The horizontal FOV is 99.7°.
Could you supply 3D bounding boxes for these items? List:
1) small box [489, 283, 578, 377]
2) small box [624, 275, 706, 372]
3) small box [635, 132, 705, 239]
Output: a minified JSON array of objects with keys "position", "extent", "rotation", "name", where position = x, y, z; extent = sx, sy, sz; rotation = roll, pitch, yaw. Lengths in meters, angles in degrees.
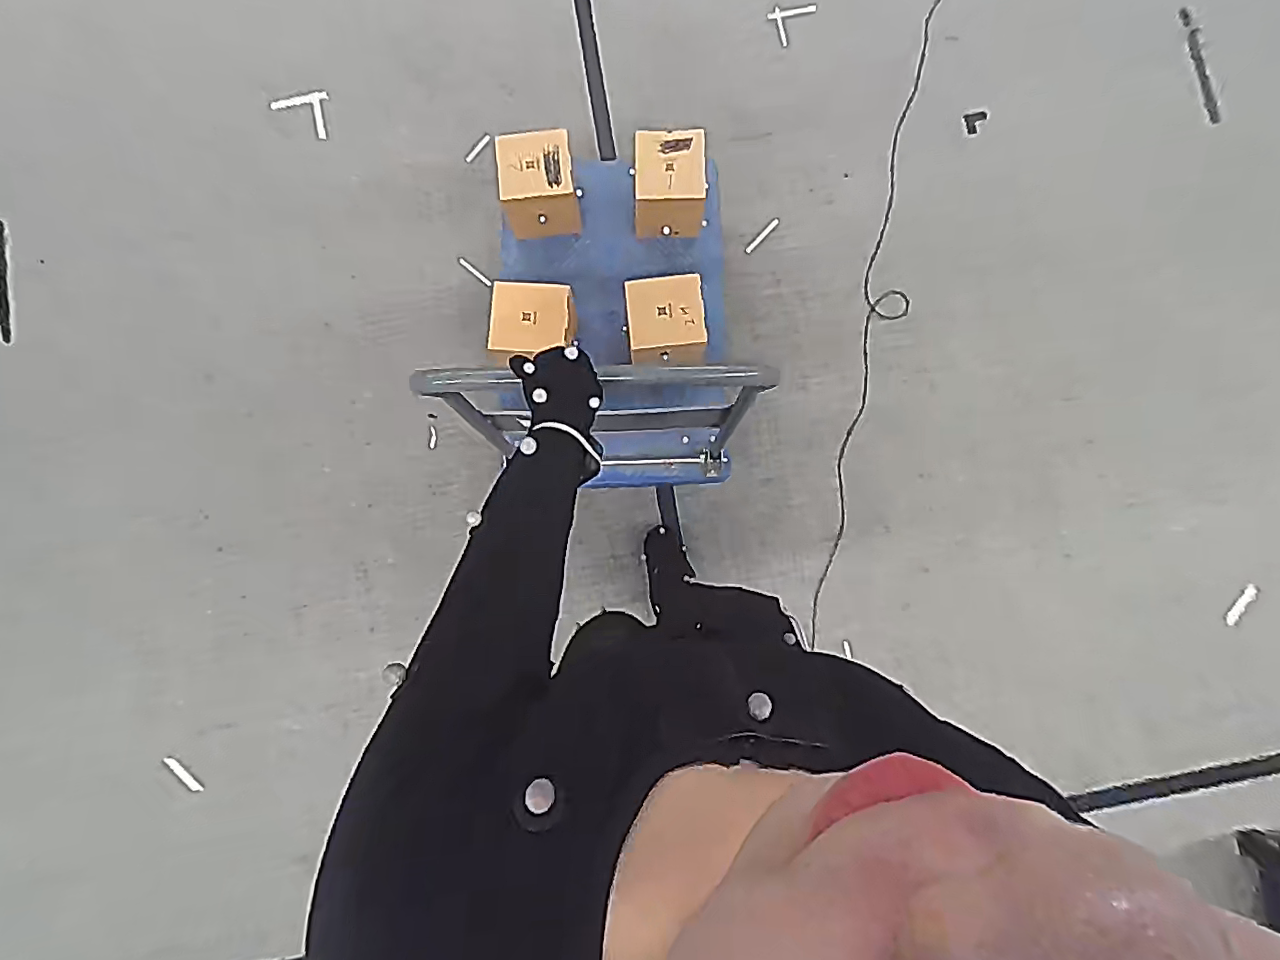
[{"position":[-0.250,-0.355,1.304],"extent":[0.179,0.176,0.168],"rotation":[3,82,-1],"name":"small box"},{"position":[0.059,-0.368,1.301],"extent":[0.179,0.176,0.168],"rotation":[-6,83,0],"name":"small box"},{"position":[0.071,-0.727,1.345],"extent":[0.168,0.176,0.179],"rotation":[-1,84,1],"name":"small box"}]
